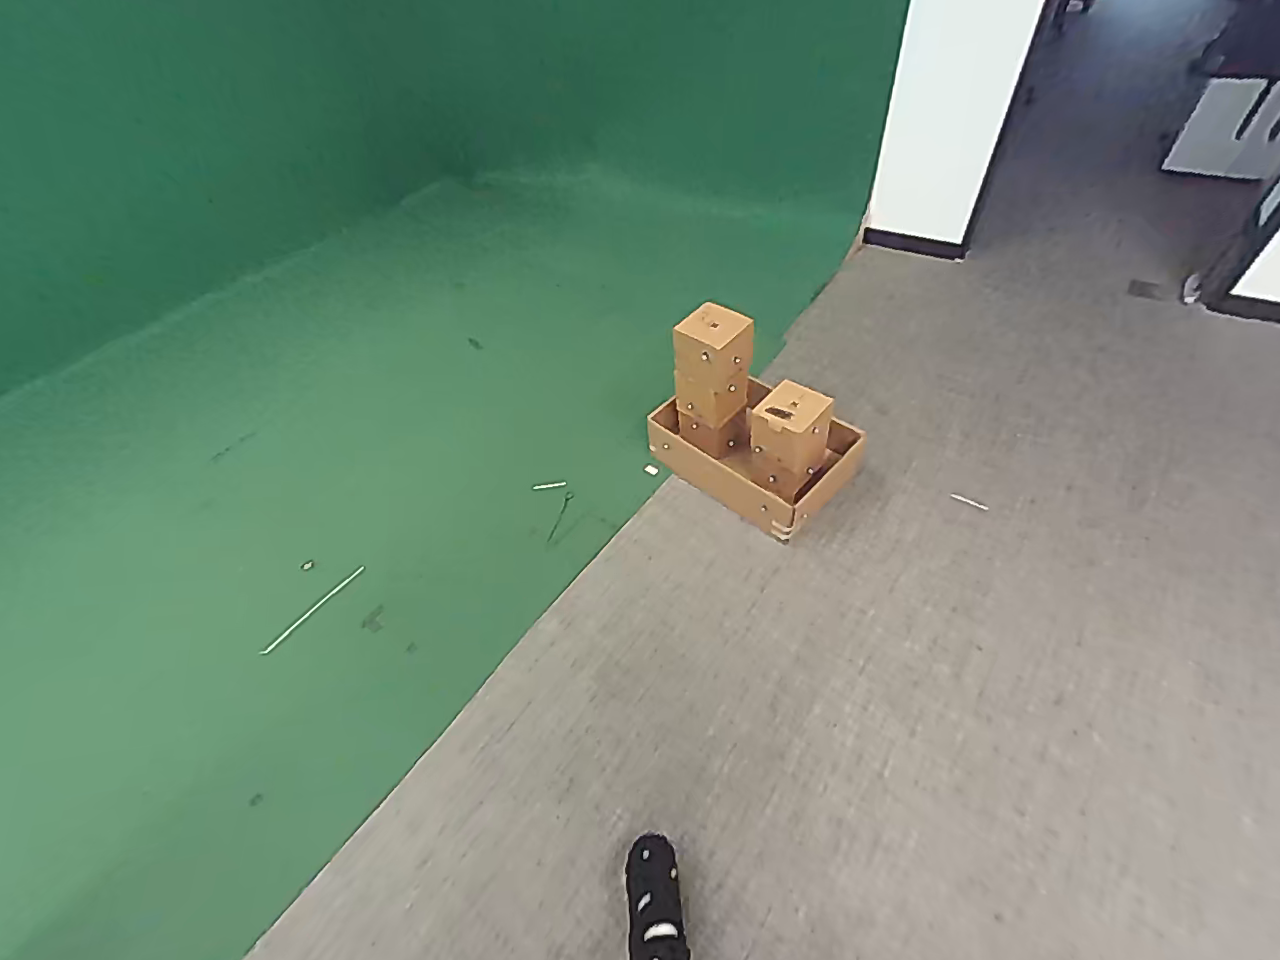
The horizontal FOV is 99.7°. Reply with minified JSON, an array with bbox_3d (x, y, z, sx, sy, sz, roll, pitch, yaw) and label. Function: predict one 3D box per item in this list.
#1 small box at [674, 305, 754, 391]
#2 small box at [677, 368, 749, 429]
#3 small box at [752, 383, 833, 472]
[{"bbox_3d":[0.226,-0.395,1.643,0.179,0.176,0.168,34,63,30],"label":"small box"},{"bbox_3d":[0.238,-0.302,1.779,0.168,0.176,0.179,35,64,30],"label":"small box"},{"bbox_3d":[0.452,-0.154,1.617,0.168,0.176,0.179,33,61,31],"label":"small box"}]
